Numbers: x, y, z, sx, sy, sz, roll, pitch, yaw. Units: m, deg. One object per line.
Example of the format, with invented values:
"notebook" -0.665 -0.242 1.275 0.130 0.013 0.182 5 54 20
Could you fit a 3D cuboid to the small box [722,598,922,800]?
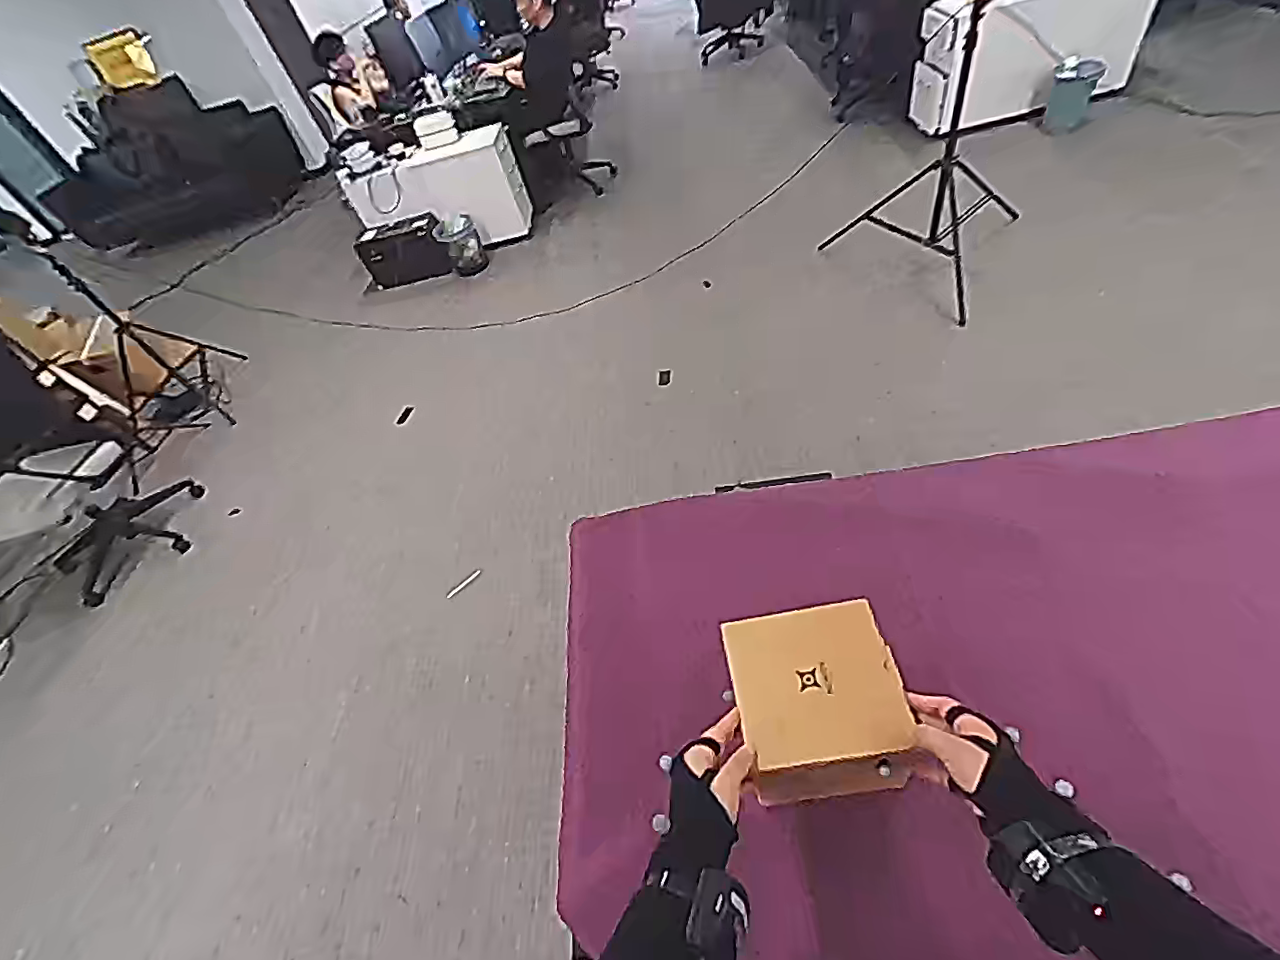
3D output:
"small box" 0.207 0.268 0.649 0.179 0.176 0.168 -12 47 6
